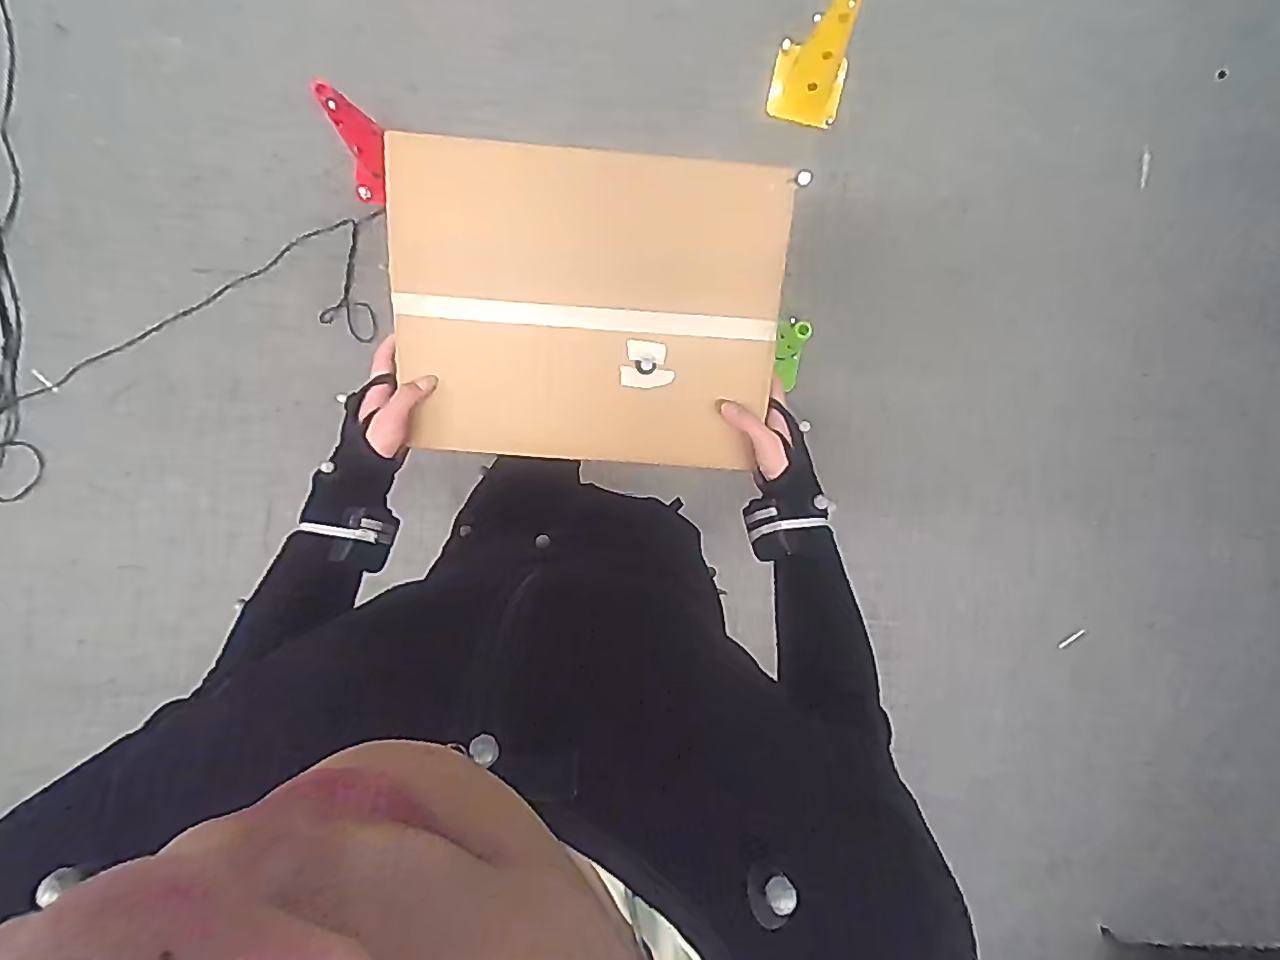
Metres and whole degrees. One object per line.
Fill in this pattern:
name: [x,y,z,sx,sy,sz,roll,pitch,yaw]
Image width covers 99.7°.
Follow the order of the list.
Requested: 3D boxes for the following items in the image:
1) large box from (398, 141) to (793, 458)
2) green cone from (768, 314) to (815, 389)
large box: [-0.055,-0.220,0.723,0.408,0.320,0.320,3,107,-2]
green cone: [0.381,-0.366,1.417,0.200,0.368,0.202,9,93,-2]
